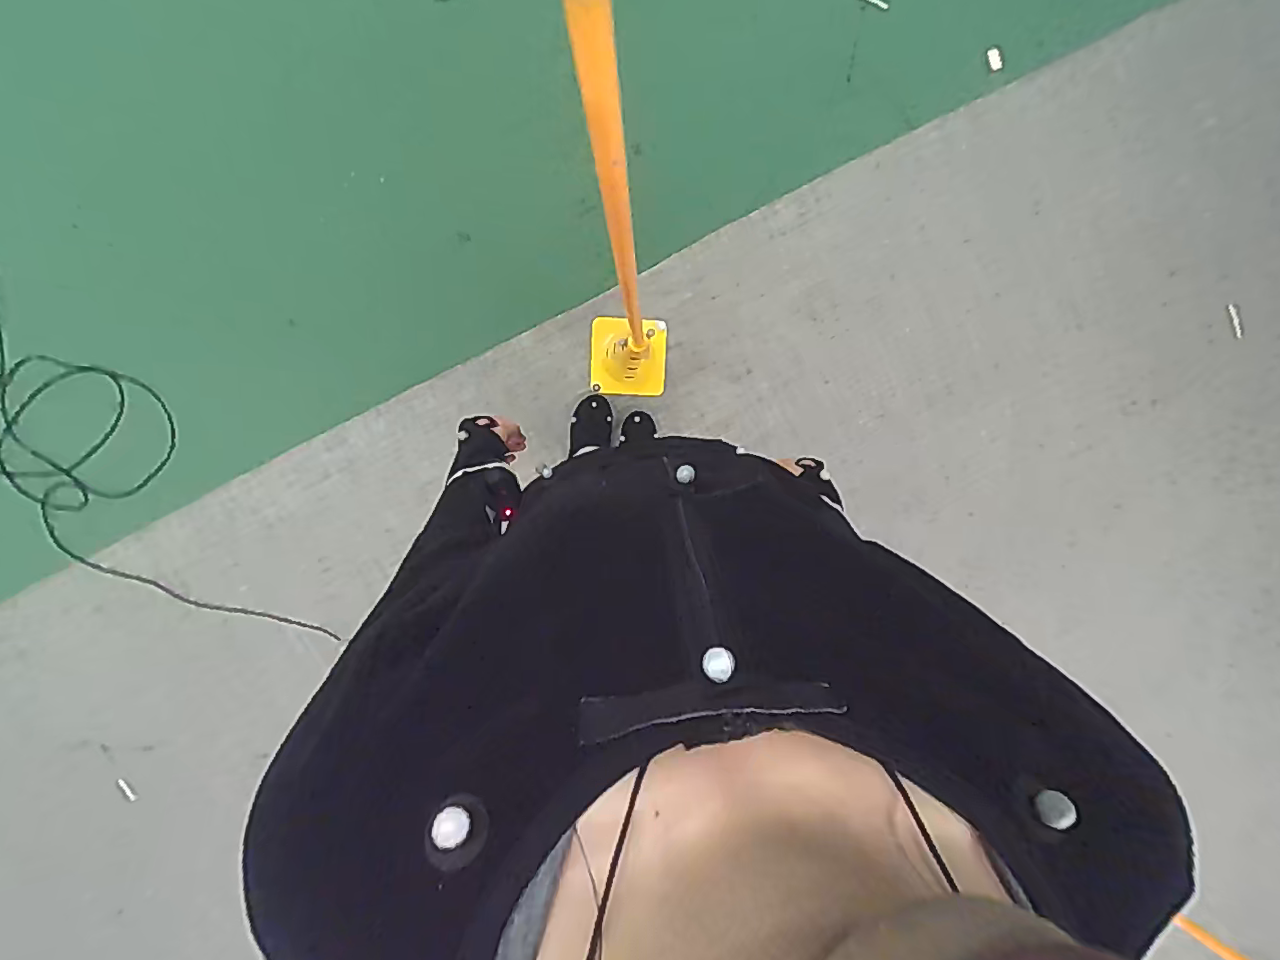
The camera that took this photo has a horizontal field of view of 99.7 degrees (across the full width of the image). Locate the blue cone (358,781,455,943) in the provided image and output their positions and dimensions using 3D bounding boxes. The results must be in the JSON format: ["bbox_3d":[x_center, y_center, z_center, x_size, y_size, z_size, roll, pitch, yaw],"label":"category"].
[{"bbox_3d":[-0.626,0.997,1.401,0.192,0.380,0.193,17,99,-8],"label":"blue cone"}]
